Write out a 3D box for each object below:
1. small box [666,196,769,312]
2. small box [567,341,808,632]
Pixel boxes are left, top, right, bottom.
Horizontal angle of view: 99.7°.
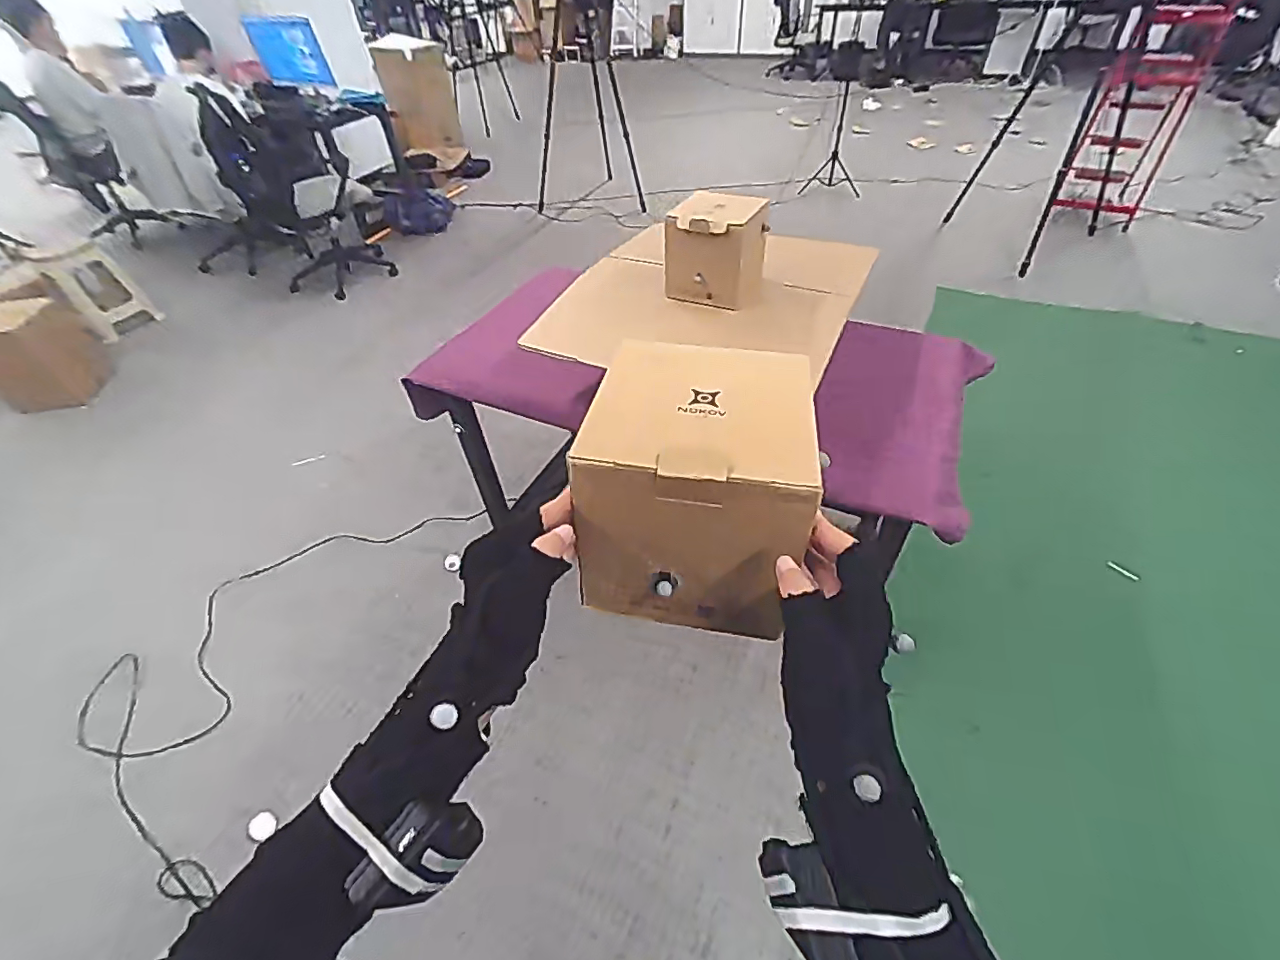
[{"bbox_3d":[0.162,-0.485,1.158,0.168,0.176,0.179,18,48,21],"label":"small box"},{"bbox_3d":[0.043,0.002,0.470,0.168,0.176,0.179,7,42,8],"label":"small box"}]
